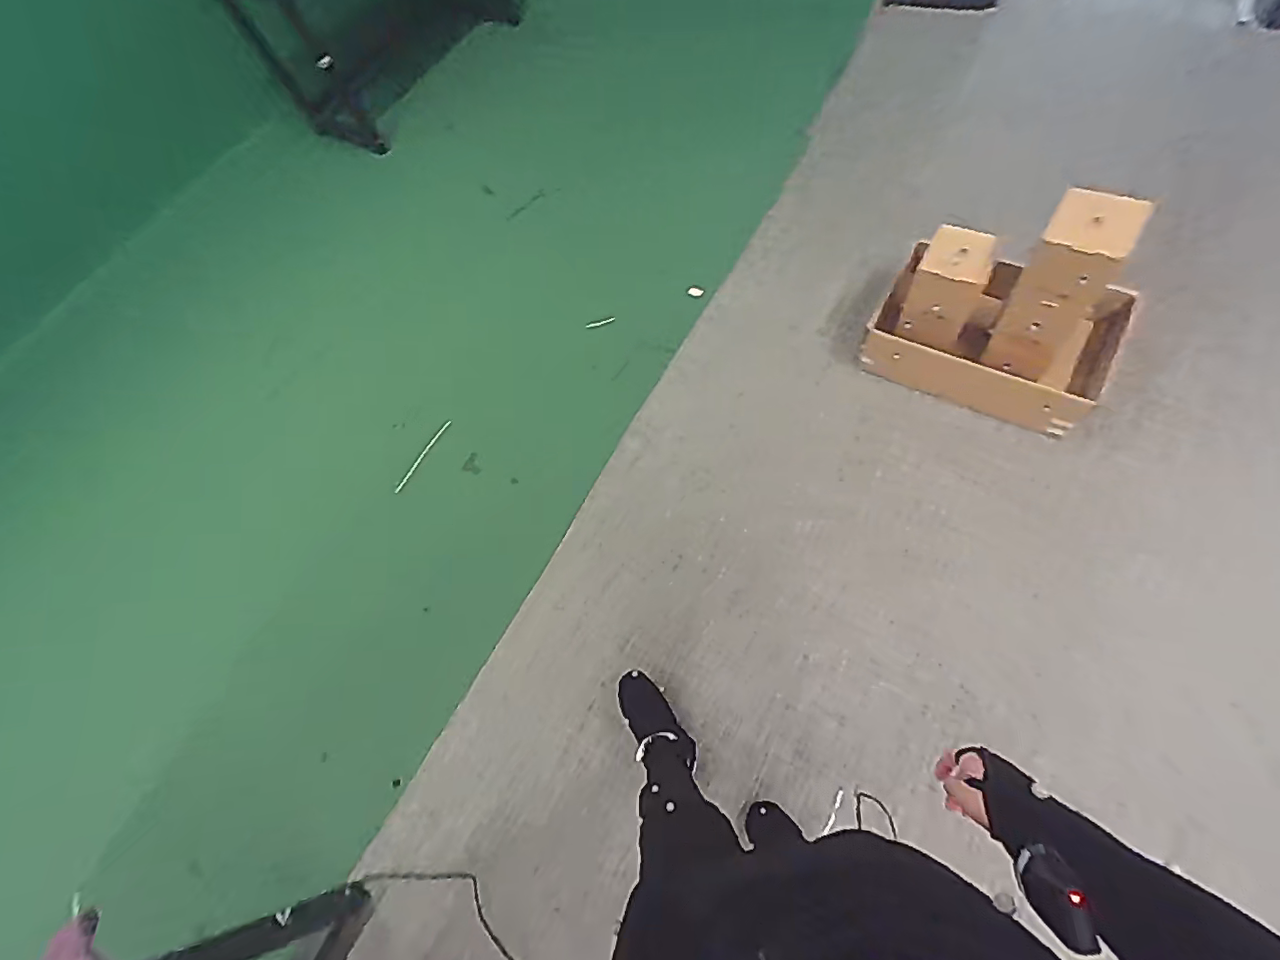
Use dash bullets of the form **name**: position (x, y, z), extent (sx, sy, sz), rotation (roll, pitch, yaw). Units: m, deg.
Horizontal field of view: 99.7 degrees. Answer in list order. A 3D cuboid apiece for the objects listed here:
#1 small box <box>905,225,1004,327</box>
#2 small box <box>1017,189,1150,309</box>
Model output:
- **small box**: position (0.857, -0.559, 1.491), extent (0.168, 0.176, 0.179), rotation (26, 74, 21)
- **small box**: position (1.024, -0.535, 1.266), extent (0.168, 0.176, 0.179), rotation (29, 76, 24)
